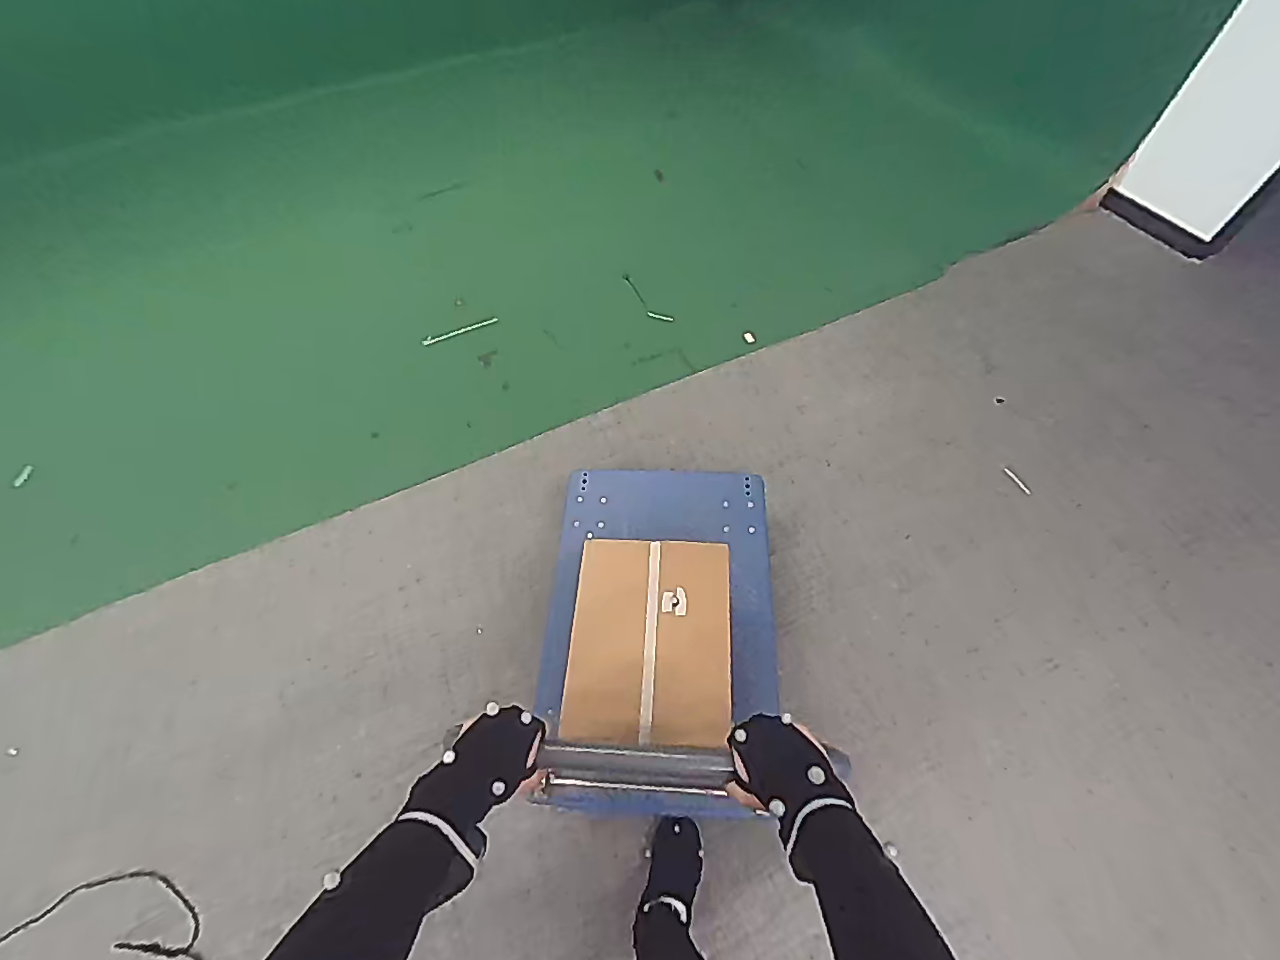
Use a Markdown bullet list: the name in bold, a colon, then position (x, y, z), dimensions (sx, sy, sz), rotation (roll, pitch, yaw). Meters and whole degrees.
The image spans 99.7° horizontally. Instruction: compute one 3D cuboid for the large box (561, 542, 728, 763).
- **large box**: position (0.026, 0.390, 1.210), dimensions (0.320, 0.320, 0.408), rotation (2, 57, 5)
